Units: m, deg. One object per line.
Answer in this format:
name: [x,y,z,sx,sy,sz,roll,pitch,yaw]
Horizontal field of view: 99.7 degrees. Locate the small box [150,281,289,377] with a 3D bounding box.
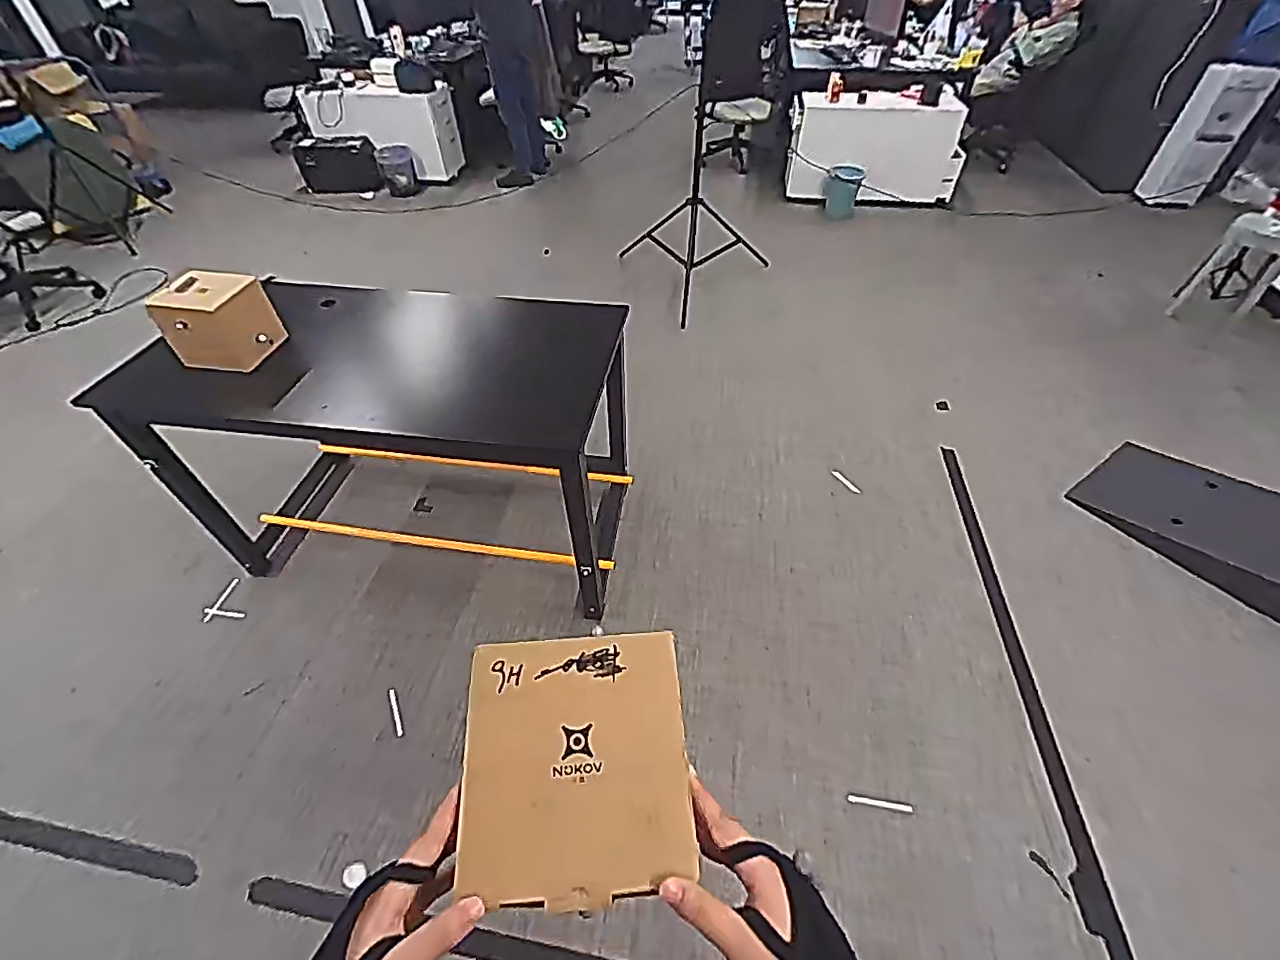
small box: [-1.022,-0.370,1.333,0.179,0.176,0.168,6,47,5]

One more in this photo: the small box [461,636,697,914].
small box: [-0.046,0.251,0.475,0.168,0.176,0.179,-4,58,-3]
